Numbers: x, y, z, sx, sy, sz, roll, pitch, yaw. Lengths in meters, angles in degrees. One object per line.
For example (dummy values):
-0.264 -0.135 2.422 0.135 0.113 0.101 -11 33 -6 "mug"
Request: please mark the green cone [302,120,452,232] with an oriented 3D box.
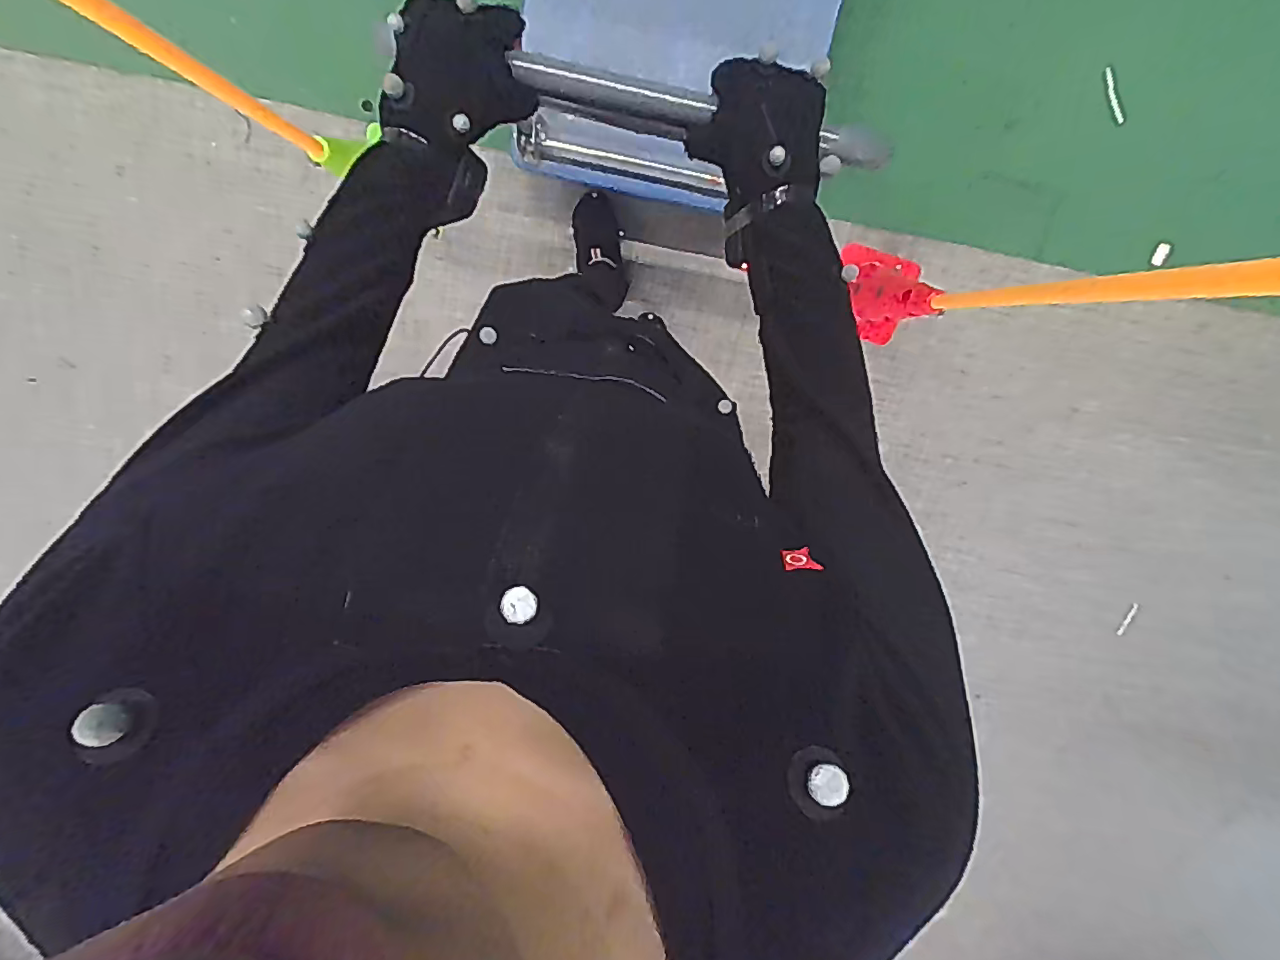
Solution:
-0.555 -0.651 1.106 0.202 0.368 0.200 15 110 -3 "green cone"
